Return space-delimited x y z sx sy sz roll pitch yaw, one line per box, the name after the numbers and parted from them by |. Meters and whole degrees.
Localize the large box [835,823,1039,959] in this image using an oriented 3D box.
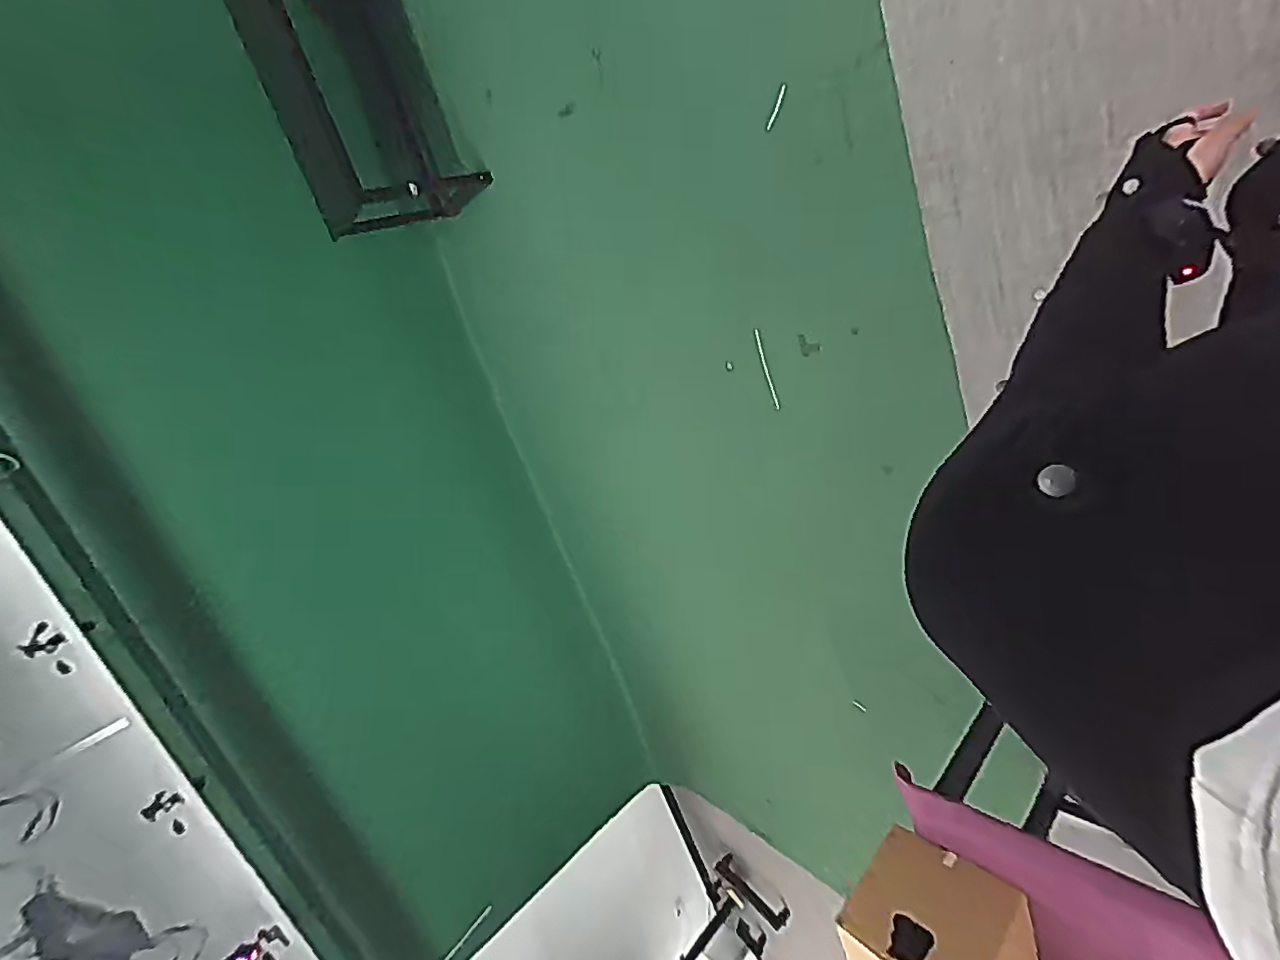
0.737 1.164 1.313 0.320 0.320 0.408 0 115 52 | large box
